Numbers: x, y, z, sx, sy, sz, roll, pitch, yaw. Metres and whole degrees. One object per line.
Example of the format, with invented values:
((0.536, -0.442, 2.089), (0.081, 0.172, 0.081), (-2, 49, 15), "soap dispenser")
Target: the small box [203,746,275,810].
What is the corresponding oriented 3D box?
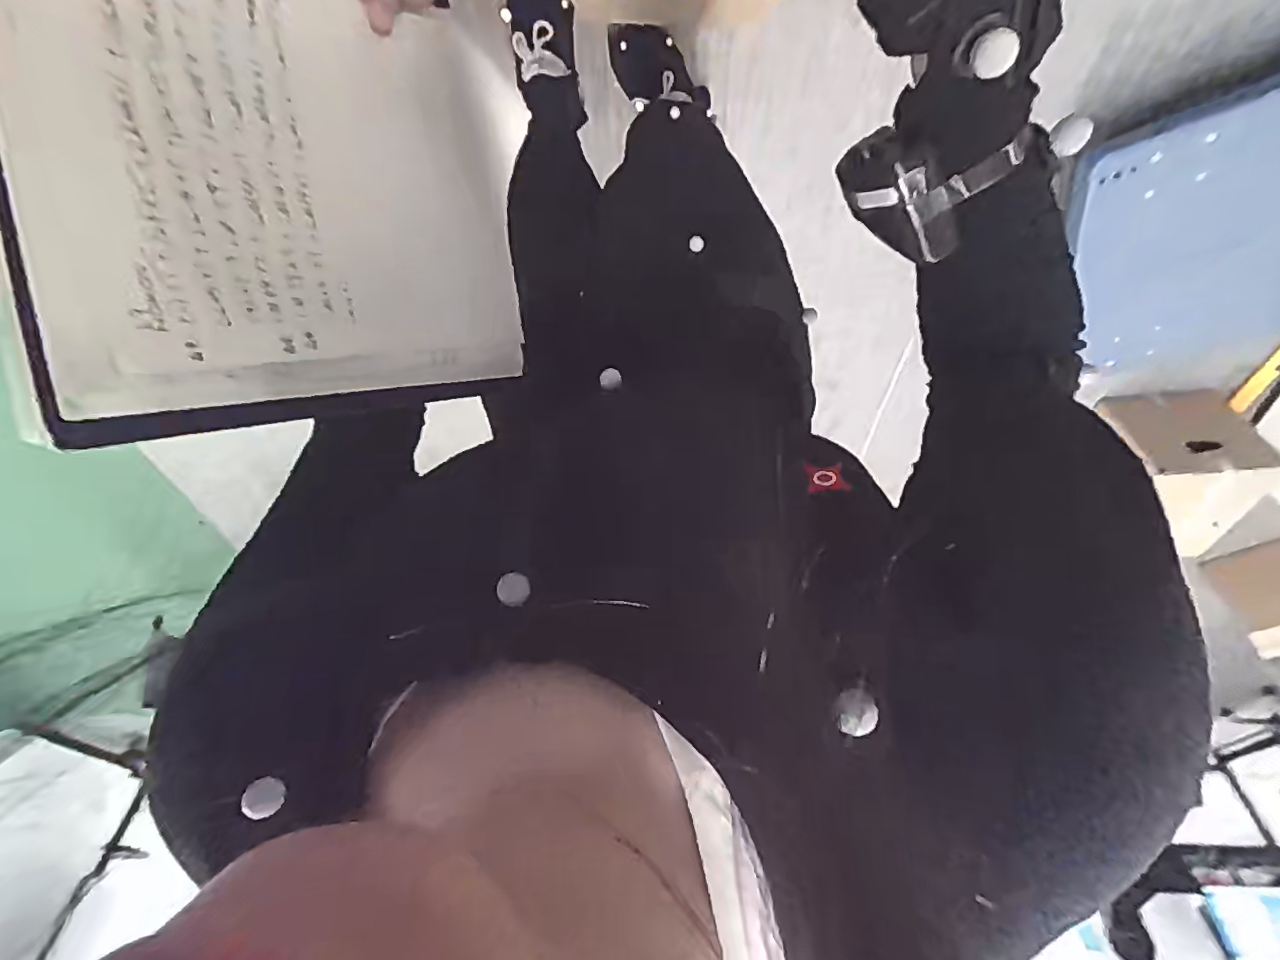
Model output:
((-1.433, 1.094, 1.982), (0.168, 0.176, 0.179), (3, 137, -2), "small box")
